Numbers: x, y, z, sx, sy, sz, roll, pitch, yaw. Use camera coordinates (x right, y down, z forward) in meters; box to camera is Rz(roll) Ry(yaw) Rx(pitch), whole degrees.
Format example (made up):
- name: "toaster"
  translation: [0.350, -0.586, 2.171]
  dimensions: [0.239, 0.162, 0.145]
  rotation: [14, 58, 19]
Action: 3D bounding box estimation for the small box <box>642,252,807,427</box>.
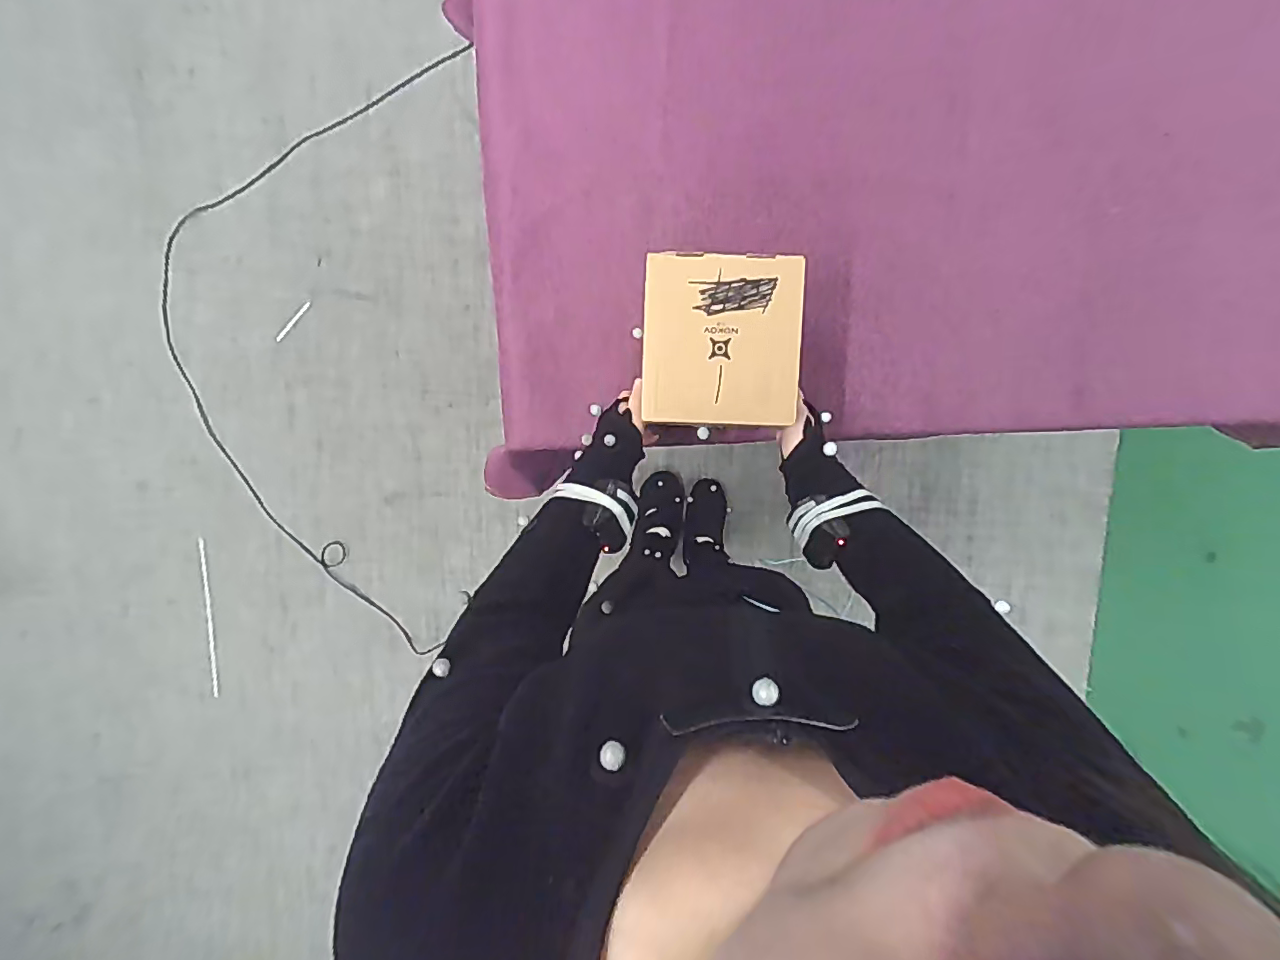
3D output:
- name: "small box"
  translation: [0.090, -0.155, 0.645]
  dimensions: [0.168, 0.176, 0.179]
  rotation: [2, 97, 2]
